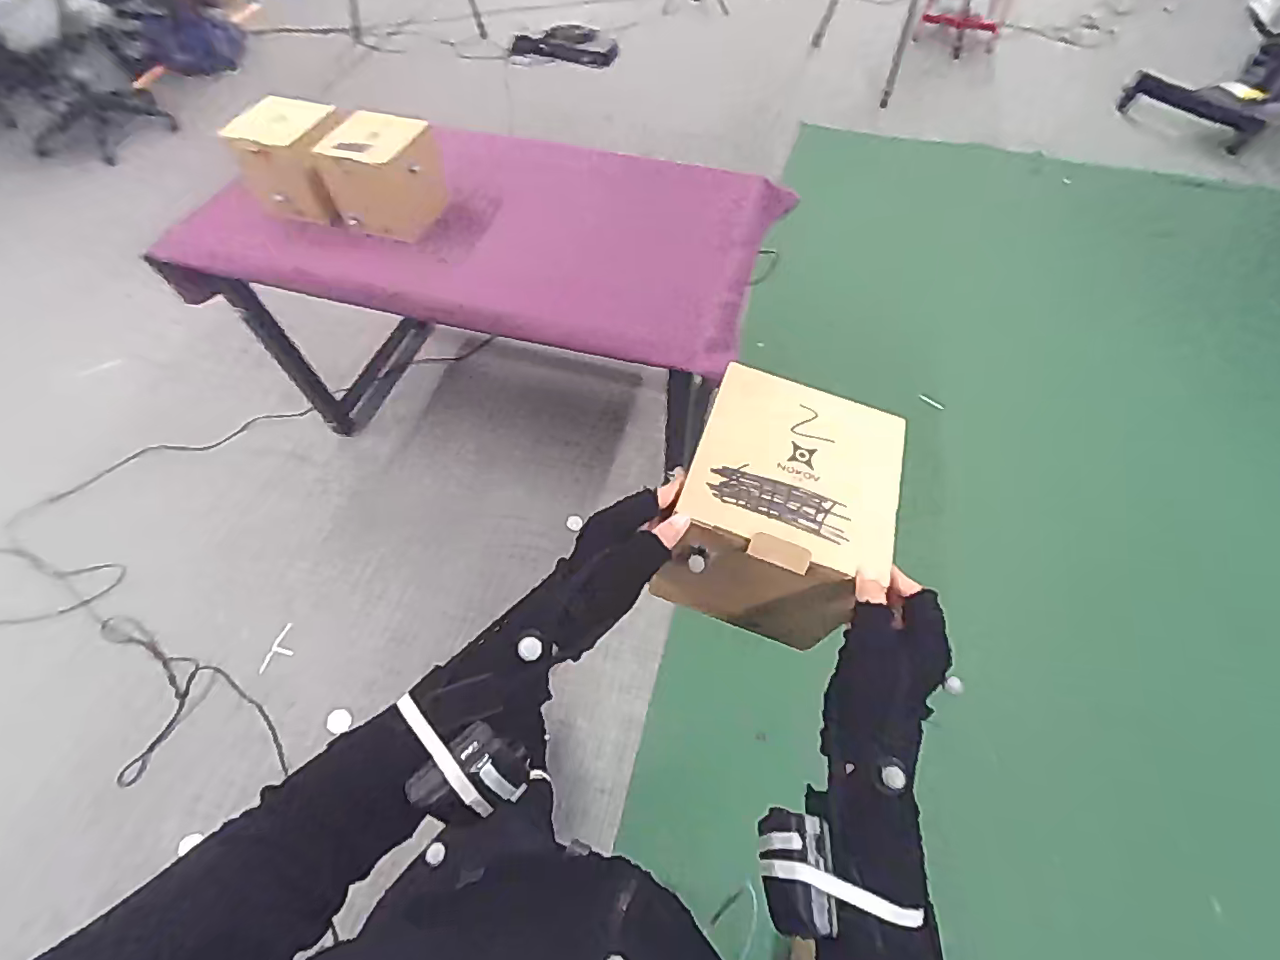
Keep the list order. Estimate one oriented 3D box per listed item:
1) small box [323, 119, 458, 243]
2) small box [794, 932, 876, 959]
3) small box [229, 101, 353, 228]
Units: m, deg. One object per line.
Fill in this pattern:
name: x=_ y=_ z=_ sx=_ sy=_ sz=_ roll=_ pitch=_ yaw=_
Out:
small box: x=-0.517 y=-0.634 z=1.153 sx=0.168 sy=0.176 sz=0.179 roll=12 pitch=62 yaw=12
small box: x=0.382 y=0.973 z=0.994 sx=0.179 sy=0.176 sz=0.168 roll=15 pitch=60 yaw=11
small box: x=-0.727 y=-0.690 z=1.185 sx=0.168 sy=0.176 sz=0.179 roll=14 pitch=60 yaw=10
